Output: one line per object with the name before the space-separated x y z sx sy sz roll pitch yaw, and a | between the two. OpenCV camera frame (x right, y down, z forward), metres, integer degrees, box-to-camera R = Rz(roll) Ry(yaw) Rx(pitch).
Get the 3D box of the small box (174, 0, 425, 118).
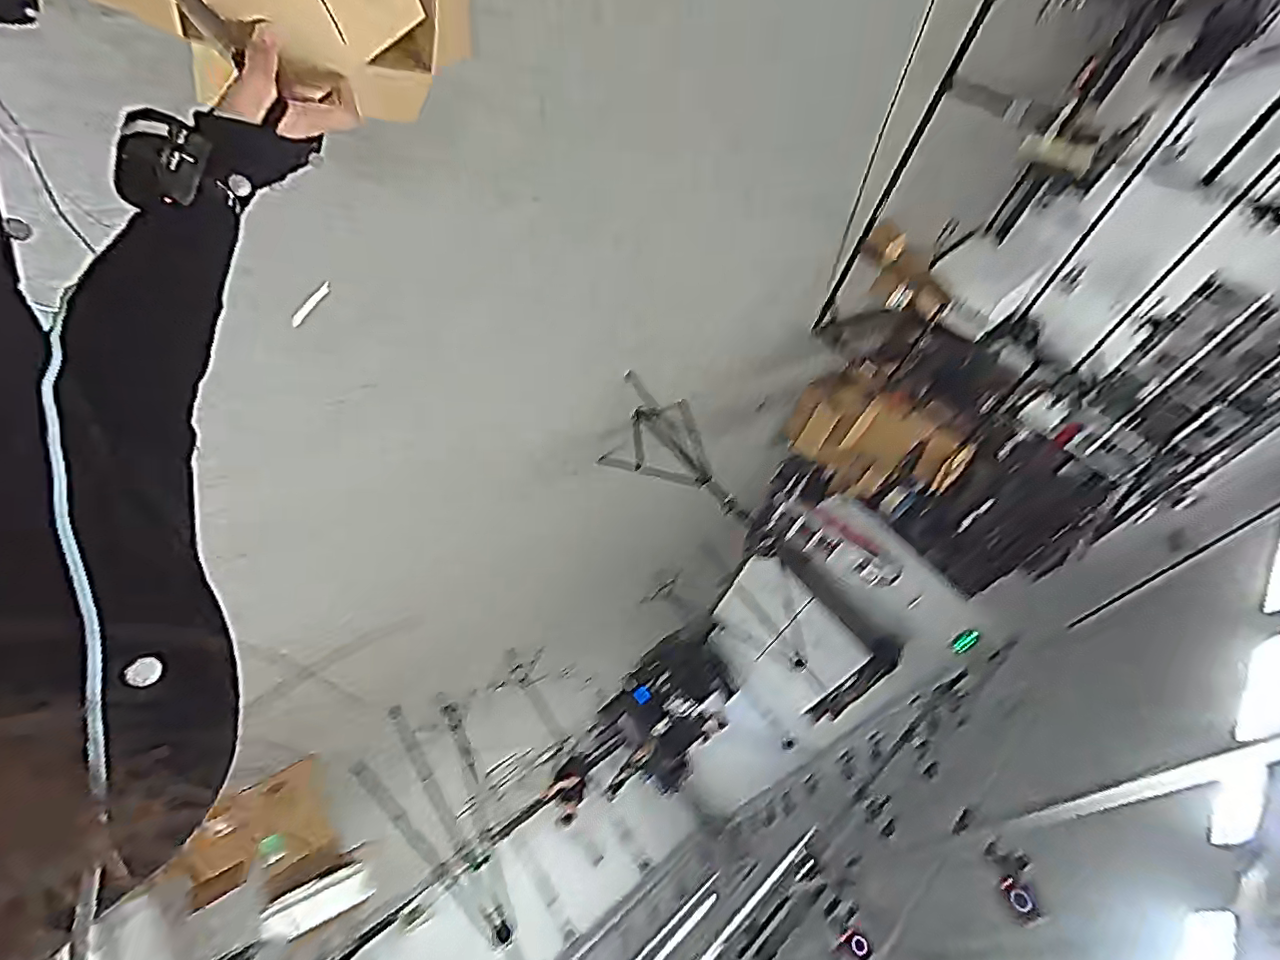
small box | -0.333 -0.469 0.461 0.168 0.176 0.179 -45 160 -7
